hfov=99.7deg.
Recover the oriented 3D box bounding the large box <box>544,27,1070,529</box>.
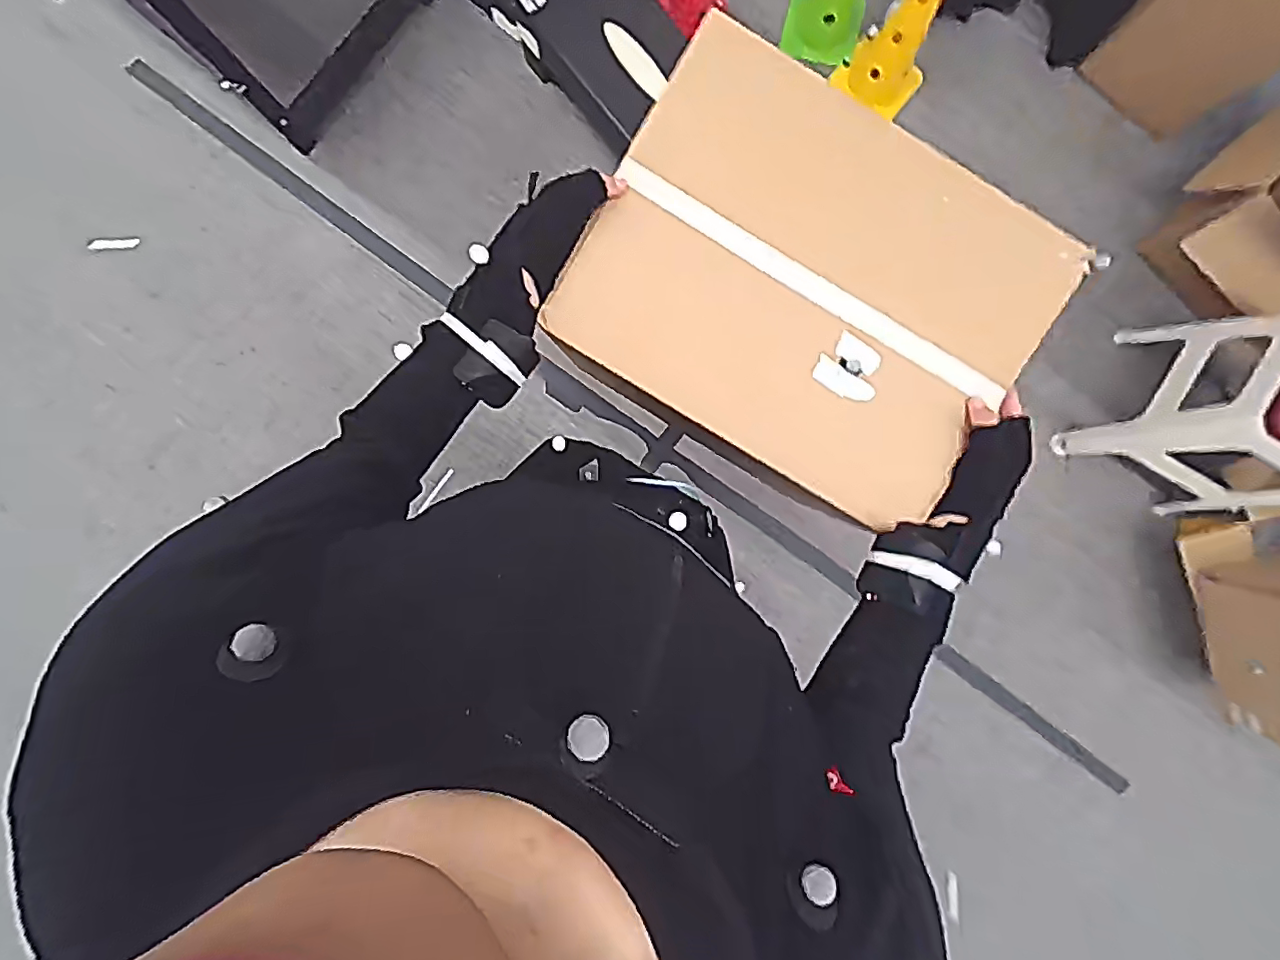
[{"bbox_3d":[0.151,-0.192,0.649,0.408,0.320,0.320,31,95,-3],"label":"large box"}]
